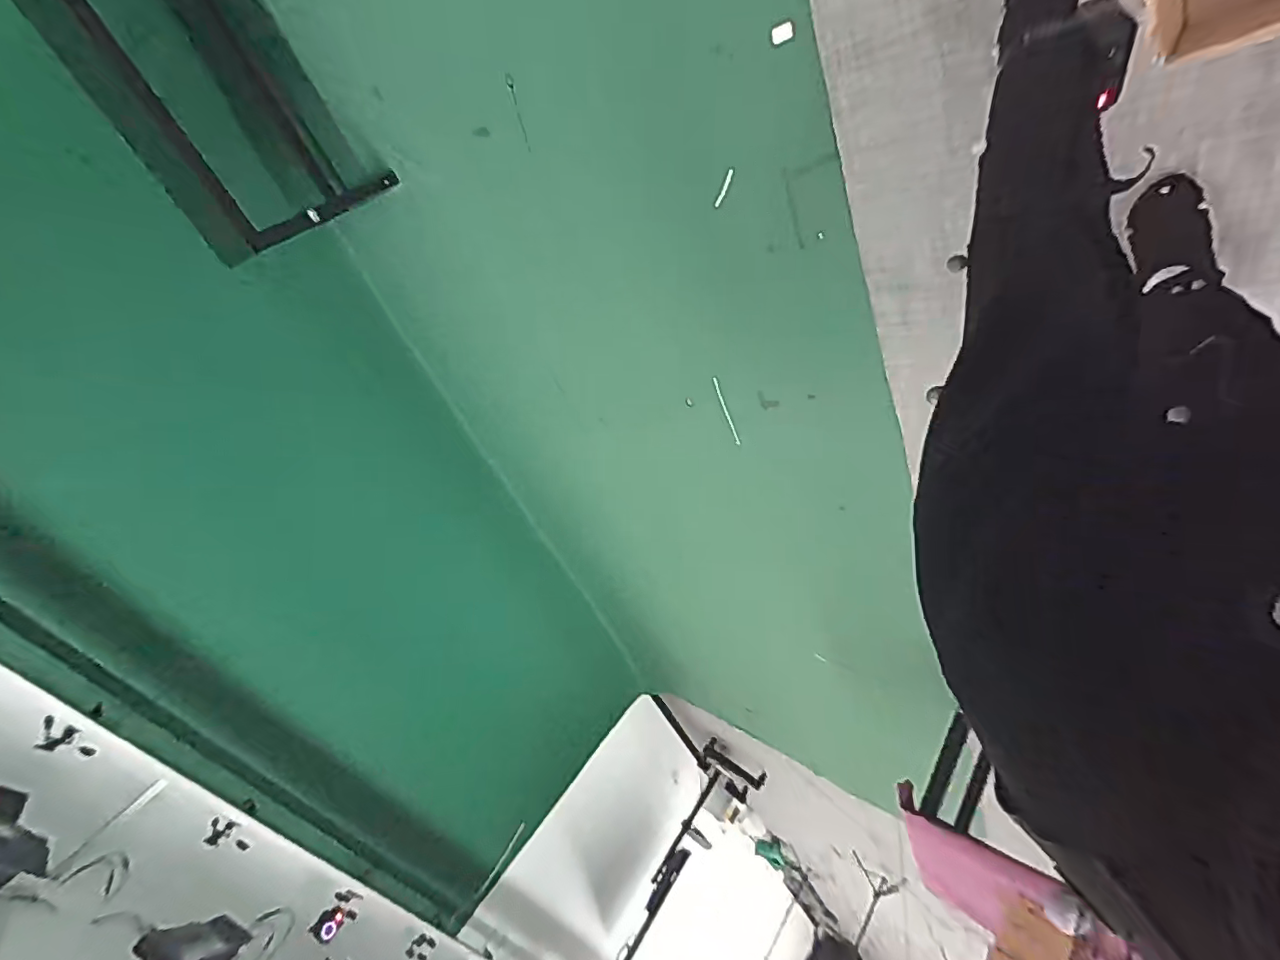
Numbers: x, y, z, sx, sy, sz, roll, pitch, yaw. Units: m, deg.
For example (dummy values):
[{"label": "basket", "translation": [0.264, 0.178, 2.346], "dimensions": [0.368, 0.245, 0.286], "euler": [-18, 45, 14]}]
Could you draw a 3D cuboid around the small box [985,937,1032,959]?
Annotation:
[{"label": "small box", "translation": [1.036, 1.405, 1.474], "dimensions": [0.168, 0.176, 0.179], "euler": [10, 139, 47]}]

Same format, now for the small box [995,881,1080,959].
[{"label": "small box", "translation": [1.139, 1.302, 1.549], "dimensions": [0.168, 0.176, 0.179], "euler": [11, 140, 46]}]
